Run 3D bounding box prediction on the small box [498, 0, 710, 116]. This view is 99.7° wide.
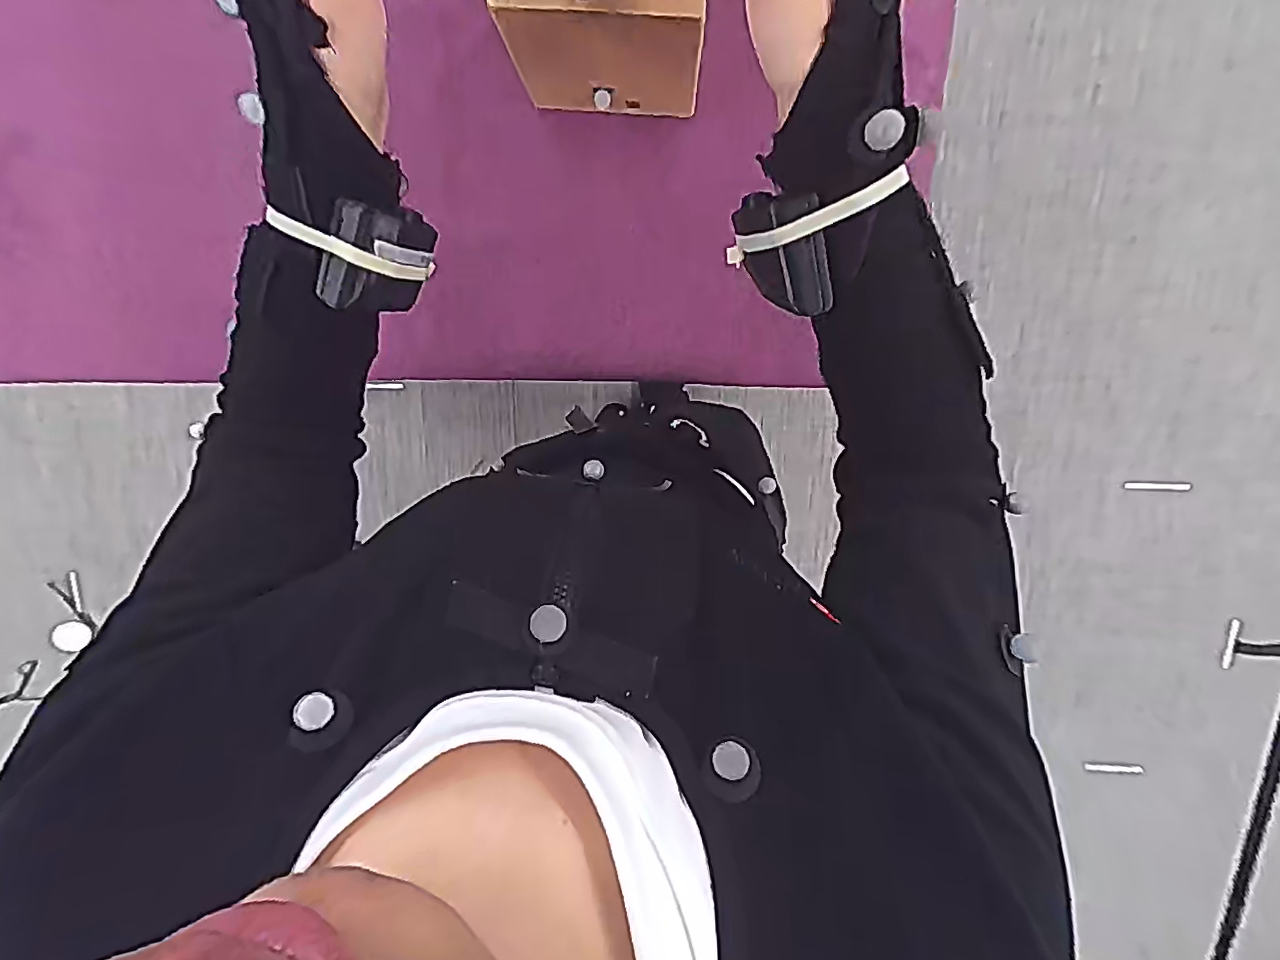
[{"bbox_3d":[-0.021,-0.449,0.460,0.168,0.176,0.179,5,103,1],"label":"small box"}]
